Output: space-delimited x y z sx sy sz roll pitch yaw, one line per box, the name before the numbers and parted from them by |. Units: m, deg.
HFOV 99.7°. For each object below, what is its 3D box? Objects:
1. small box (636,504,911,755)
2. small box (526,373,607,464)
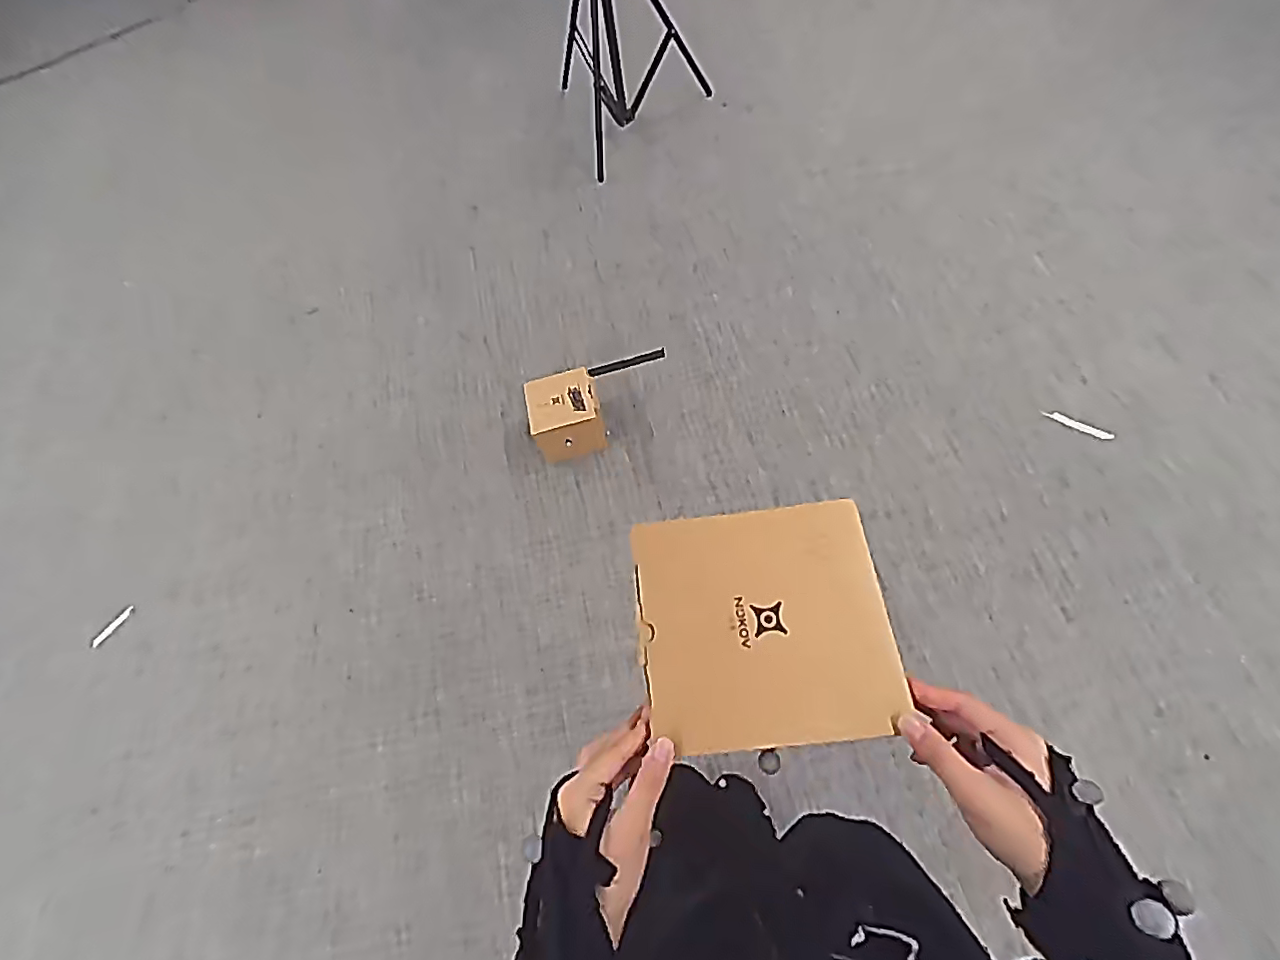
small box | 0.096 0.133 0.467 0.179 0.176 0.168 -8 66 3
small box | -0.194 -0.163 1.482 0.179 0.176 0.168 -15 65 2
